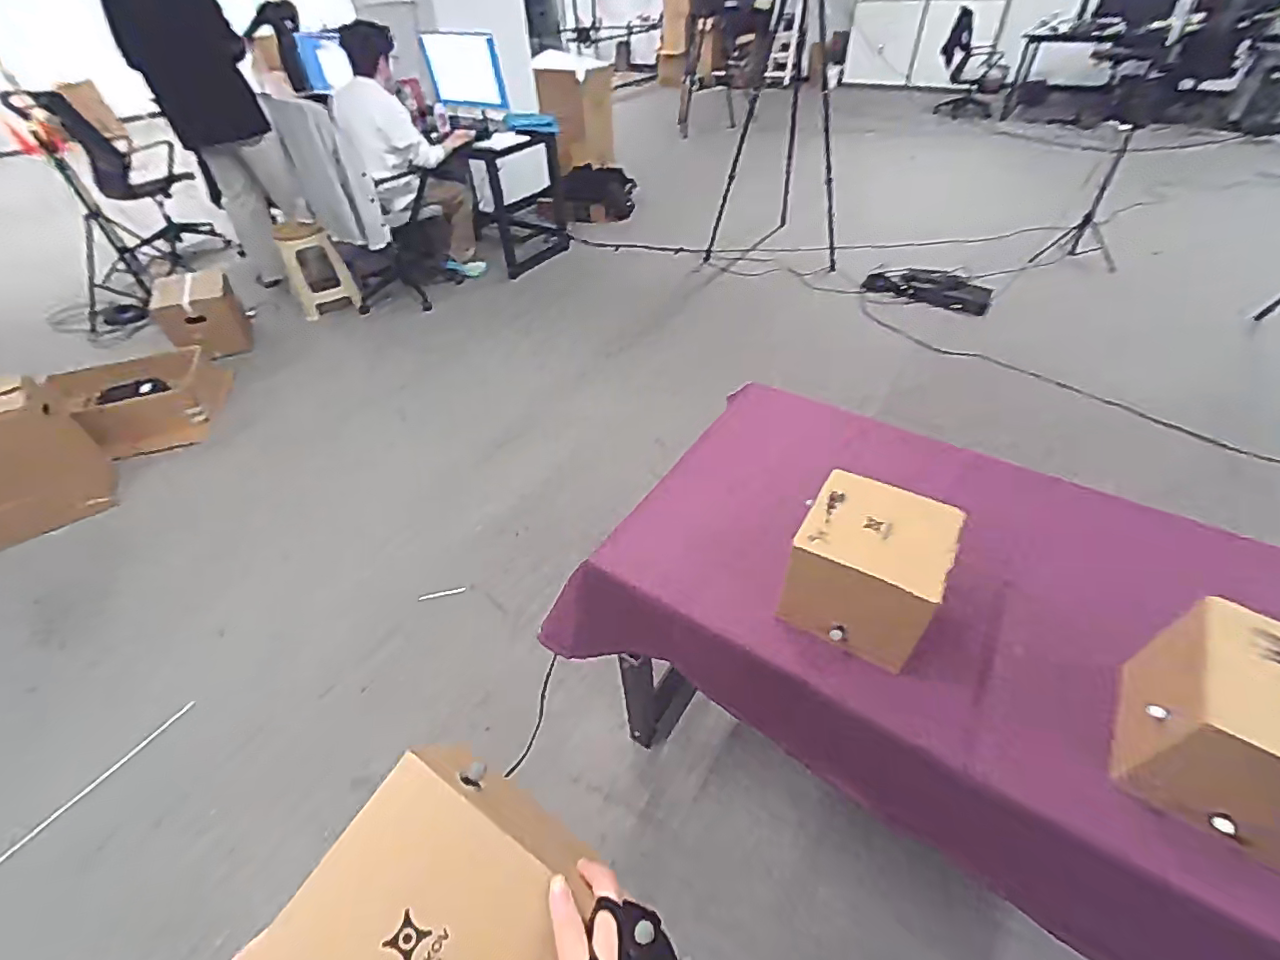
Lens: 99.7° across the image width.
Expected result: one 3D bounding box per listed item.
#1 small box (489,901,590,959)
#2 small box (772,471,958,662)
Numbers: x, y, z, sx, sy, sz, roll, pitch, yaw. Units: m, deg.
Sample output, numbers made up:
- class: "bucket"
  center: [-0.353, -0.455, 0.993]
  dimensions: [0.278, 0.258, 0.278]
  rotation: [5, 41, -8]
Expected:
- class: "small box"
  center: [-0.188, 0.932, 0.988]
  dimensions: [0.168, 0.176, 0.179]
  rotation: [25, 49, 26]
- class: "small box"
  center: [0.303, 0.123, 0.750]
  dimensions: [0.179, 0.176, 0.168]
  rotation: [23, 49, 24]
